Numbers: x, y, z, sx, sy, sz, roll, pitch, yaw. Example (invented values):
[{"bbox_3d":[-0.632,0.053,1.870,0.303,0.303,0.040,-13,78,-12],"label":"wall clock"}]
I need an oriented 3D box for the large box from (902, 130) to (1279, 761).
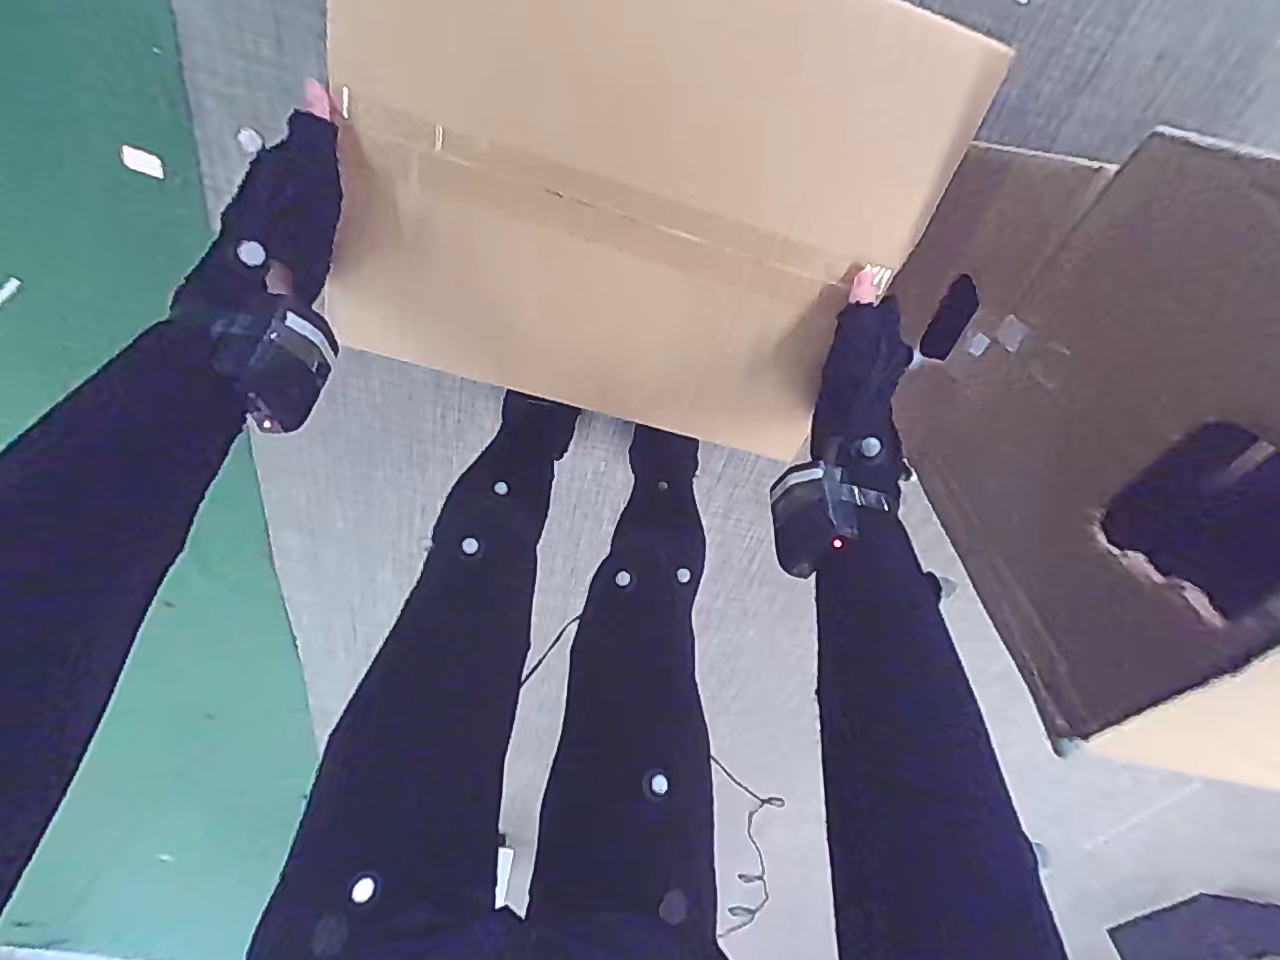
[{"bbox_3d":[0.496,-0.008,0.400,0.408,0.320,0.320,13,130,-6],"label":"large box"}]
